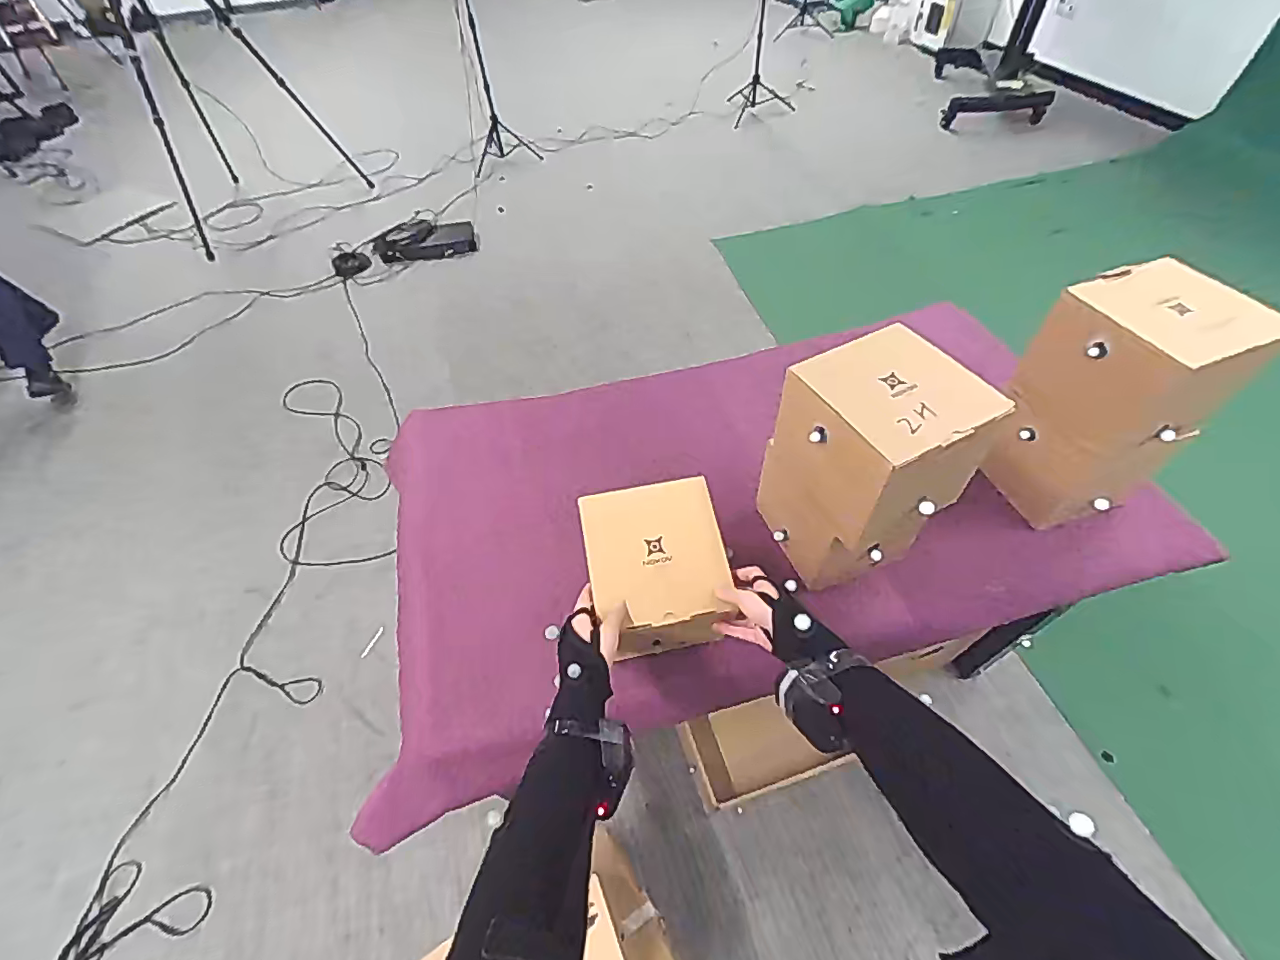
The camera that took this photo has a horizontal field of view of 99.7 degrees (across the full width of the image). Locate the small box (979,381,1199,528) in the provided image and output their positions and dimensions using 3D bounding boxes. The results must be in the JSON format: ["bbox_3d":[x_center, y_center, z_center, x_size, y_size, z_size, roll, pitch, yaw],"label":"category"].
[{"bbox_3d":[0.665,-0.055,0.838,0.168,0.176,0.179,-15,52,-7],"label":"small box"}]

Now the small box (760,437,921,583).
[{"bbox_3d":[0.295,0.031,0.799,0.168,0.176,0.179,-18,52,-10],"label":"small box"}]

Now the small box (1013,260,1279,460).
[{"bbox_3d":[0.648,-0.156,0.712,0.168,0.176,0.179,-18,52,-8],"label":"small box"}]

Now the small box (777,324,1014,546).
[{"bbox_3d":[0.286,-0.053,0.654,0.168,0.176,0.179,-23,54,-13],"label":"small box"}]

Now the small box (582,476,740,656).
[{"bbox_3d":[0.019,0.119,0.718,0.168,0.176,0.179,-10,63,-5],"label":"small box"}]
